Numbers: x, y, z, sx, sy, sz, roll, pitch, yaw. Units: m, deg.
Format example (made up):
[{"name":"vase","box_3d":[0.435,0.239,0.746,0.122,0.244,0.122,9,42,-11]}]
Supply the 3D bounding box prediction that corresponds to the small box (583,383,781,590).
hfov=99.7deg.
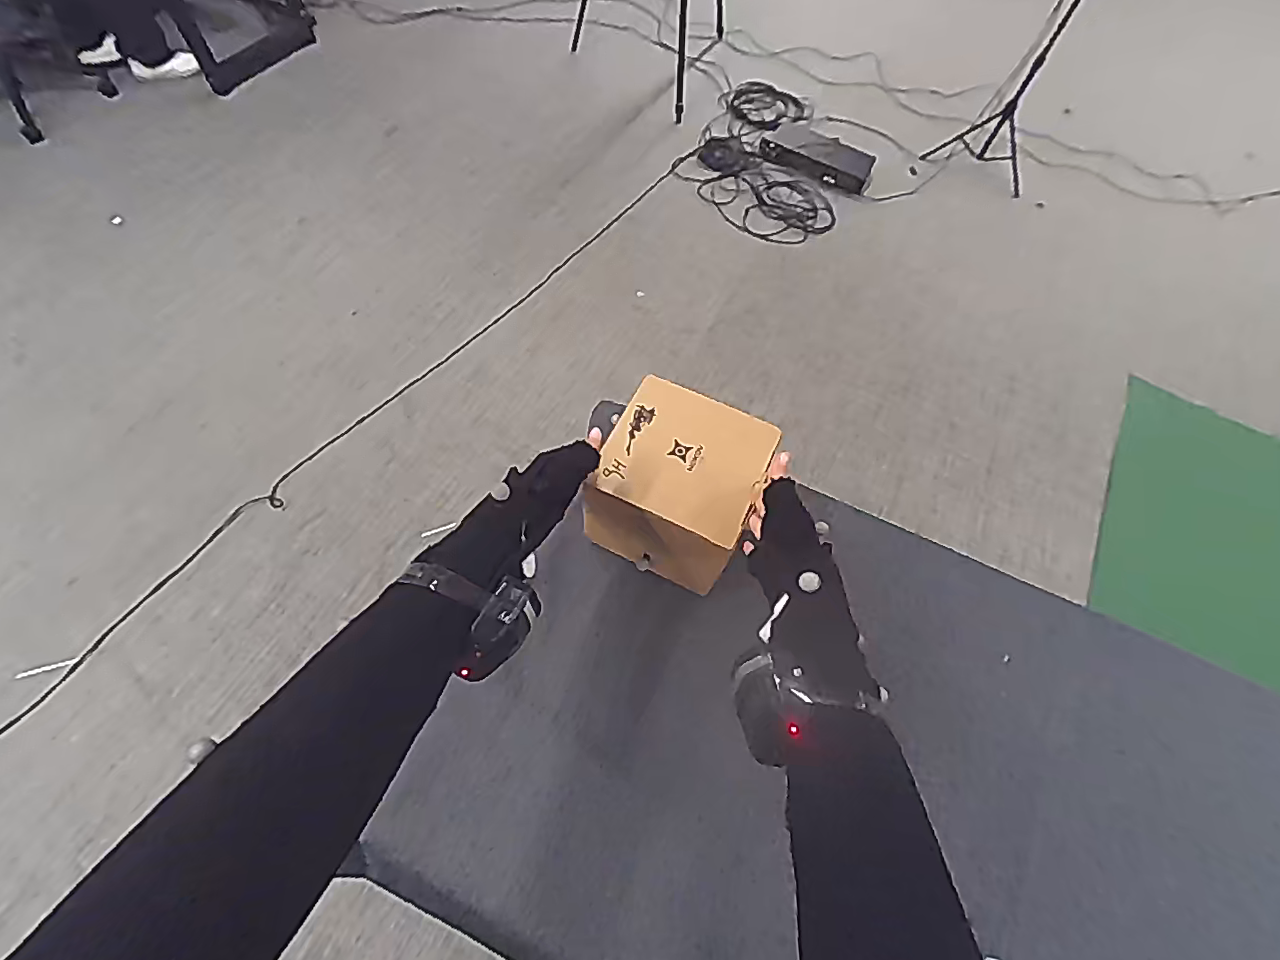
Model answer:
[{"name":"small box","box_3d":[0.045,0.018,0.670,0.179,0.176,0.168,25,63,8]}]
